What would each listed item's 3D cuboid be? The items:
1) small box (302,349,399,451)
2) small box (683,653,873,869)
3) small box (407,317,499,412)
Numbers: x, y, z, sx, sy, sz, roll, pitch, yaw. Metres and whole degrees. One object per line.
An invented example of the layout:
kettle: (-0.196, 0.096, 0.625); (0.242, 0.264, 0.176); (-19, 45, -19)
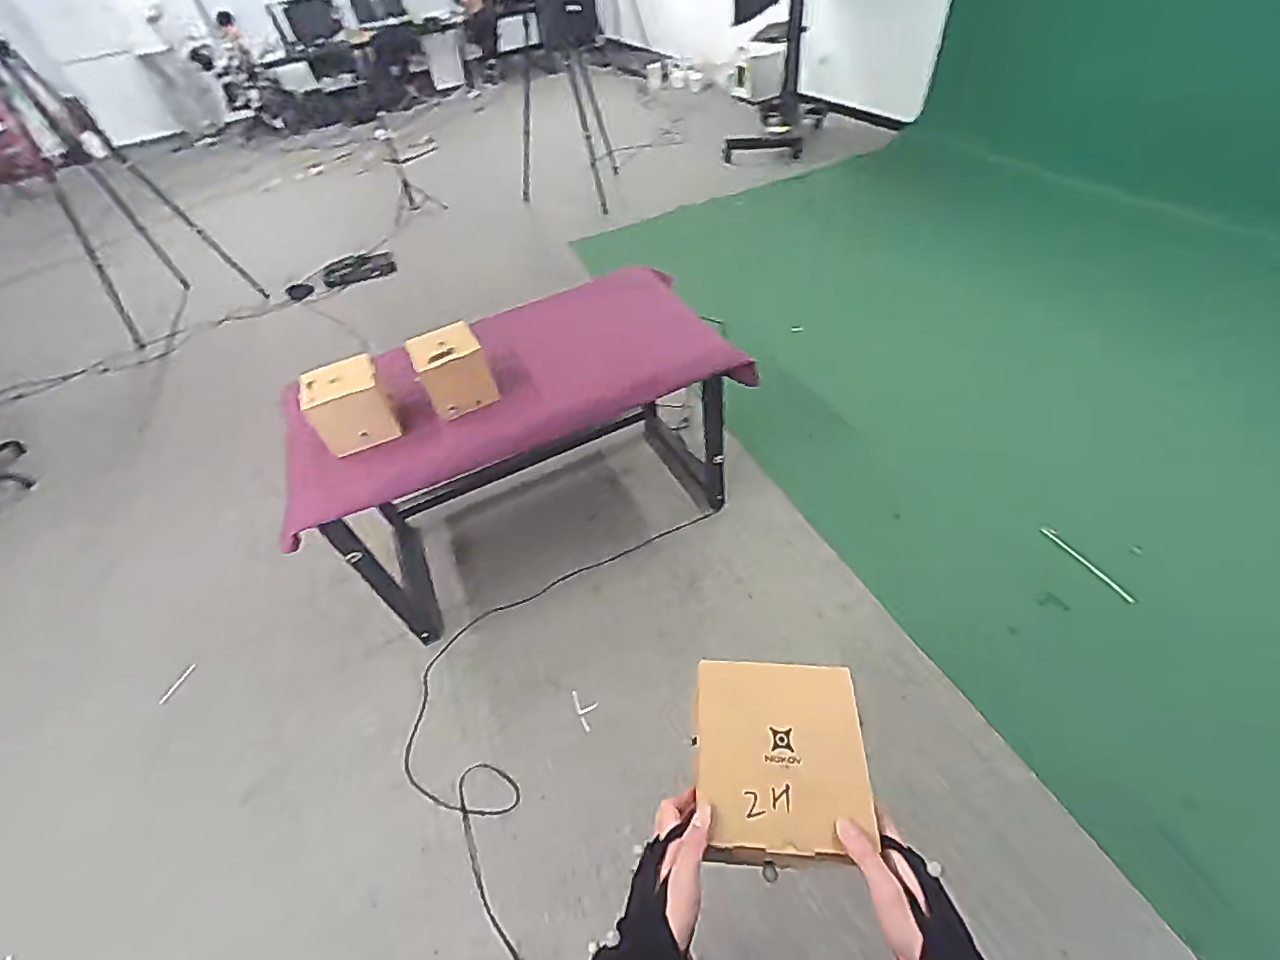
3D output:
small box: (-0.740, -0.205, 1.397); (0.179, 0.176, 0.168); (-21, 48, -12)
small box: (0.135, 0.313, 0.601); (0.168, 0.176, 0.179); (2, 51, 3)
small box: (-0.499, -0.304, 1.454); (0.168, 0.176, 0.179); (-25, 49, -15)
